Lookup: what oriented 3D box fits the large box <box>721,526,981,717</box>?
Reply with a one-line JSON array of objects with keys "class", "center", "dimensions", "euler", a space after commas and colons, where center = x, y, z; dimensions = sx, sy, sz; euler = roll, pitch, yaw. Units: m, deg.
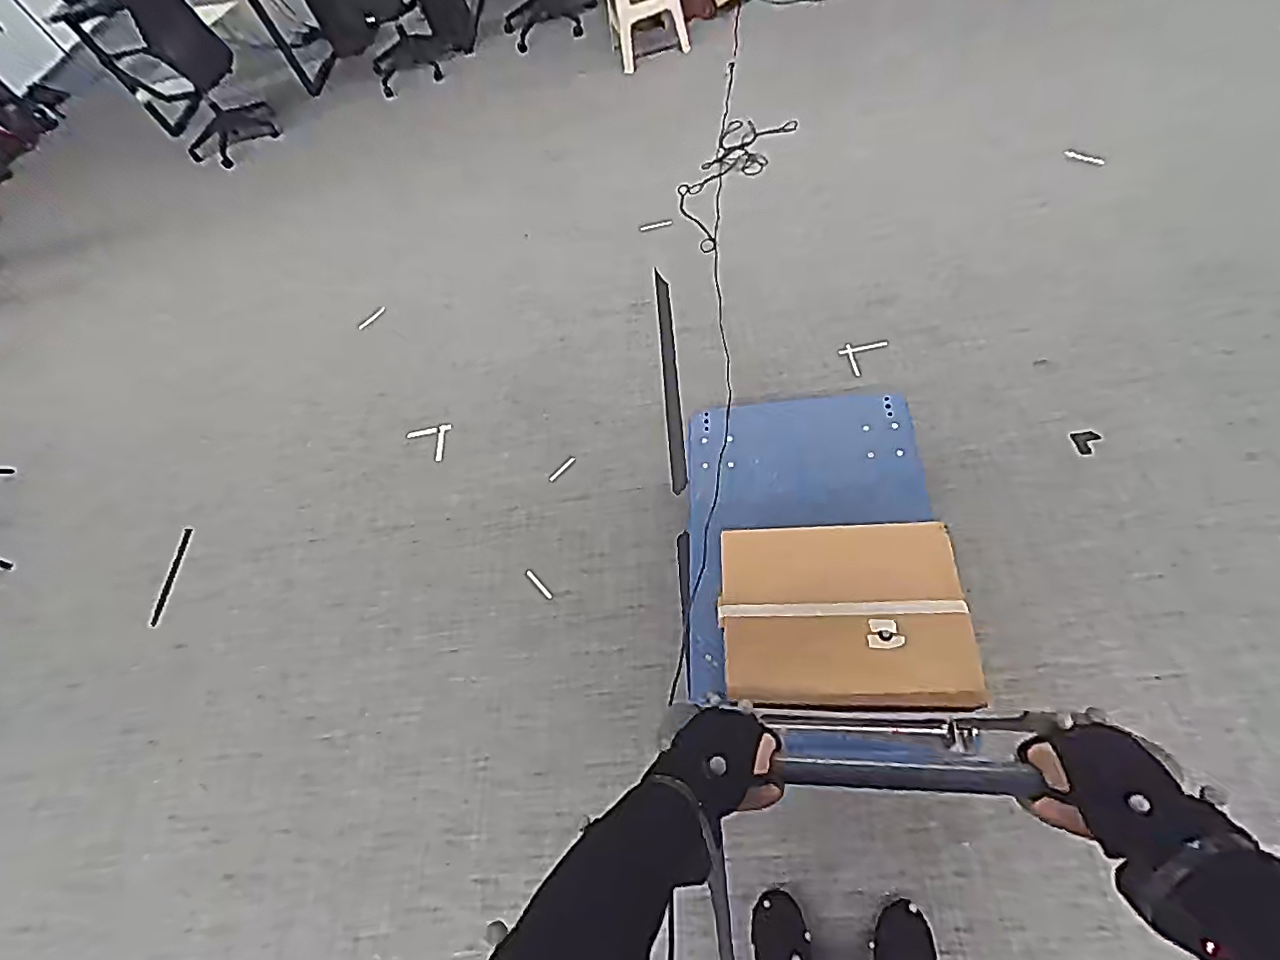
[{"class": "large box", "center": [0.380, 0.300, 1.088], "dimensions": [0.408, 0.320, 0.320], "euler": [-3, 64, 11]}]
